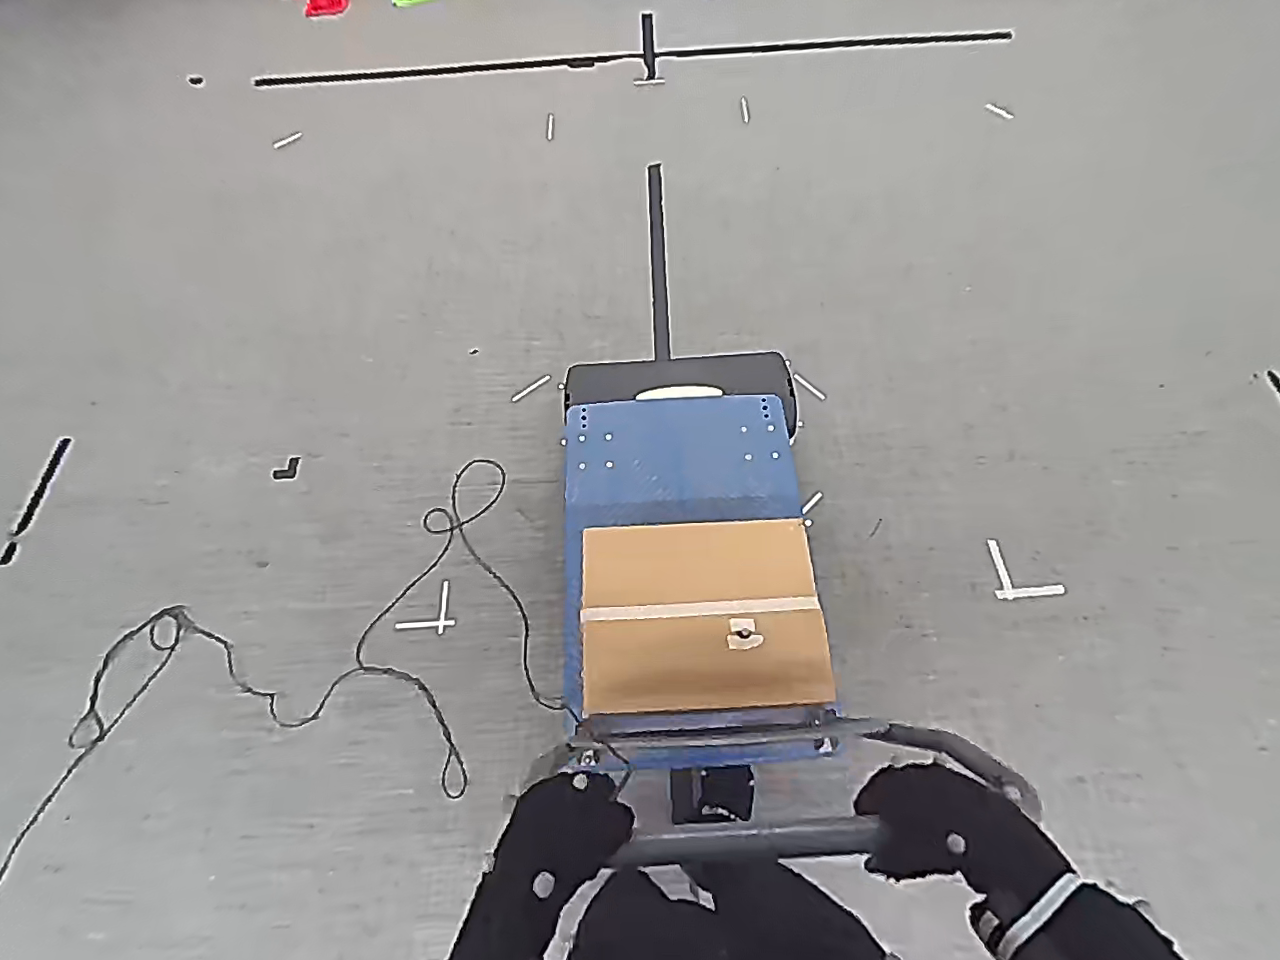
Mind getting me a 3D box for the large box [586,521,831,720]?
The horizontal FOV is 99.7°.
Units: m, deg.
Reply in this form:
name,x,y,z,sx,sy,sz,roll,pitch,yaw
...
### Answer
name,x,y,z,sx,sy,sz,roll,pitch,yaw
large box,0.105,0.291,1.075,0.408,0.320,0.320,-3,65,-1
